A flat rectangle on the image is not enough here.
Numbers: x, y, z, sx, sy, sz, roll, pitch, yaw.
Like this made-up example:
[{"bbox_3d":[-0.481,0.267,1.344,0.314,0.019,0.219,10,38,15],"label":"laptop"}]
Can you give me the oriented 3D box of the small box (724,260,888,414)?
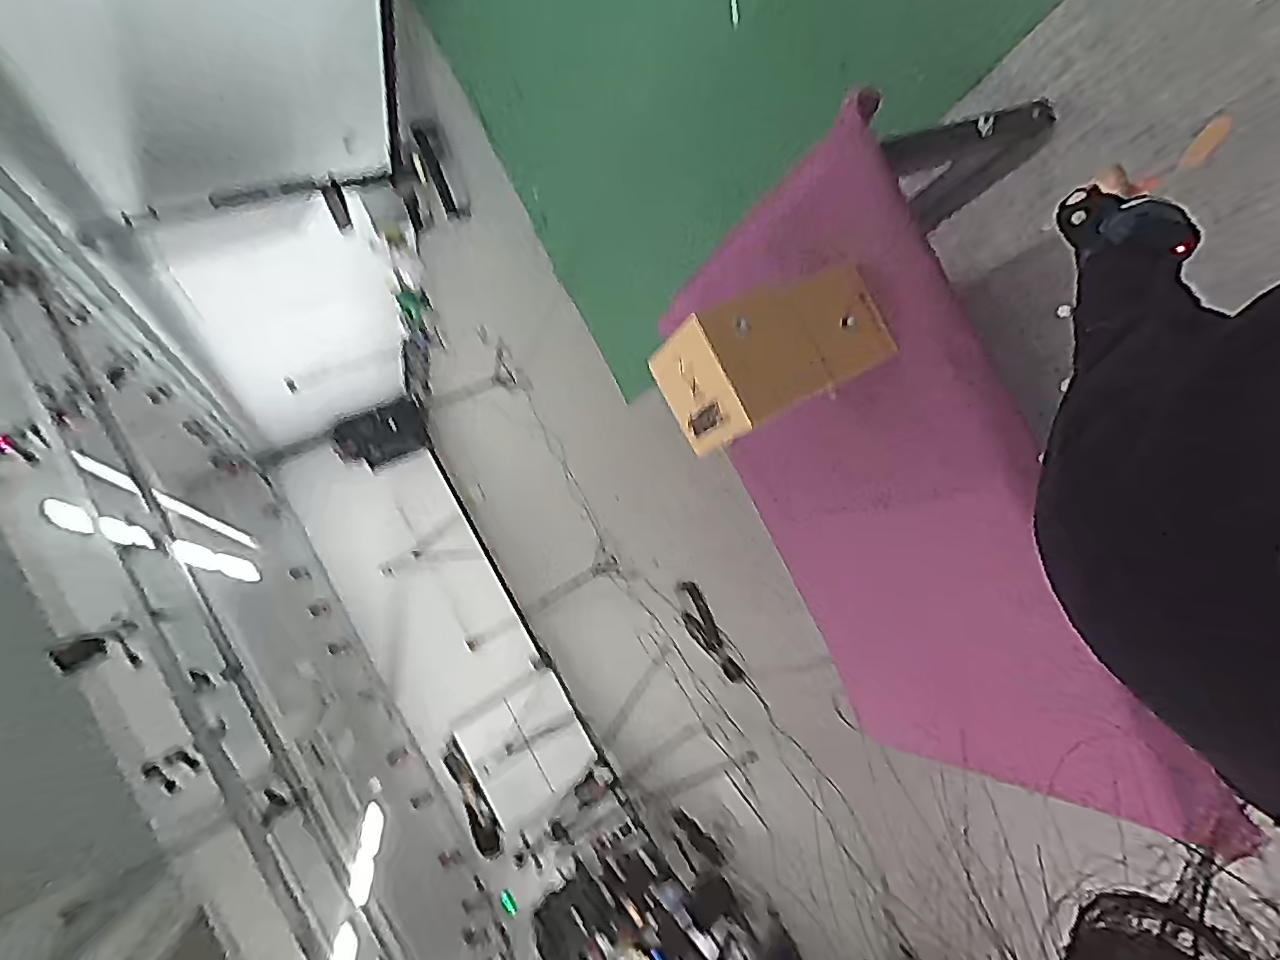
[{"bbox_3d":[0.282,-0.238,0.907,0.168,0.176,0.179,62,155,-1],"label":"small box"}]
